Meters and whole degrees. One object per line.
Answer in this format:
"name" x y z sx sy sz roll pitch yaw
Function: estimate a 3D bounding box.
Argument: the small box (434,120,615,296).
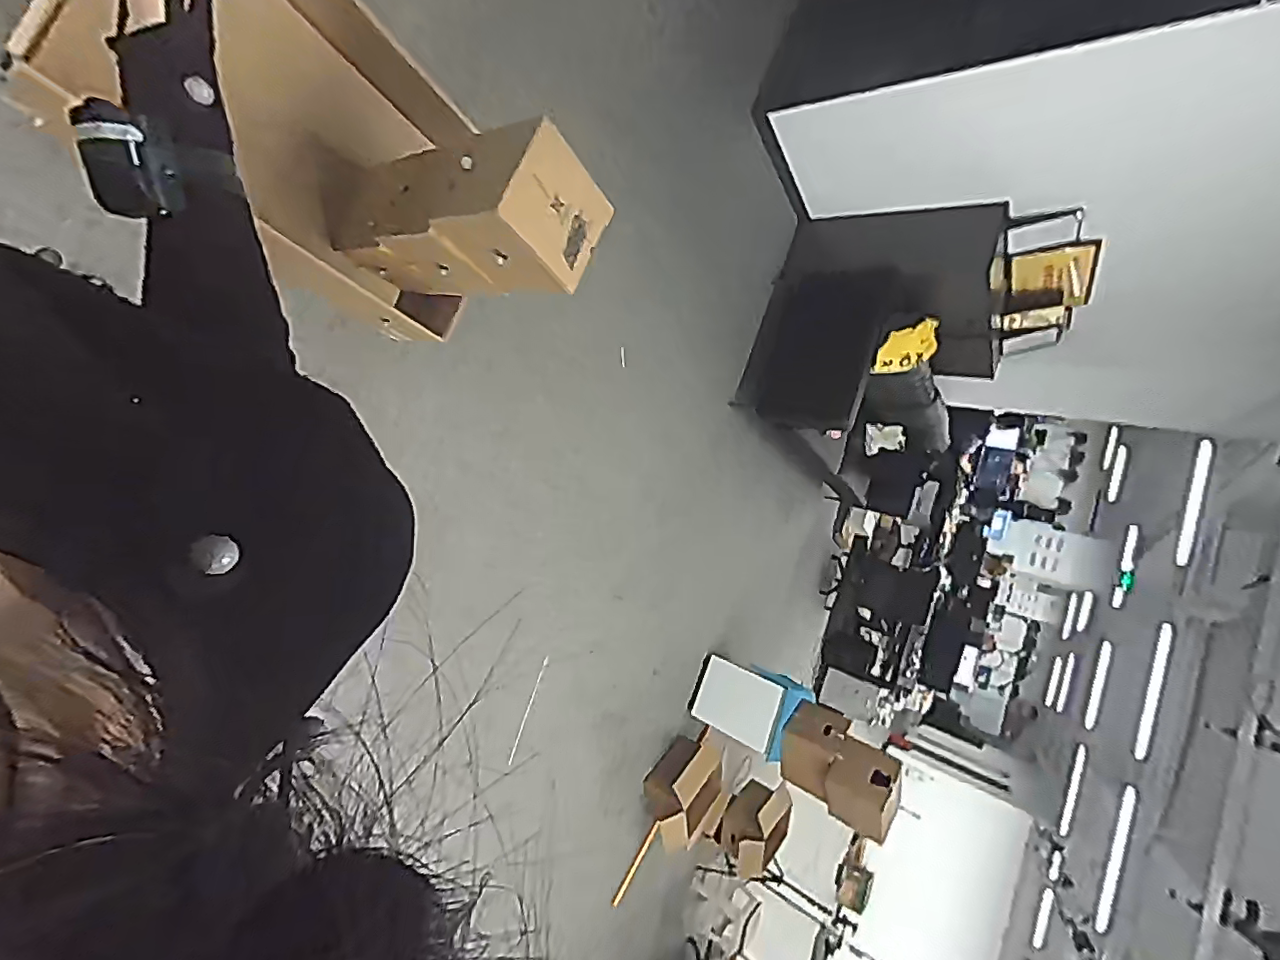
"small box" -0.176 -0.408 0.835 0.179 0.176 0.168 37 72 -51
